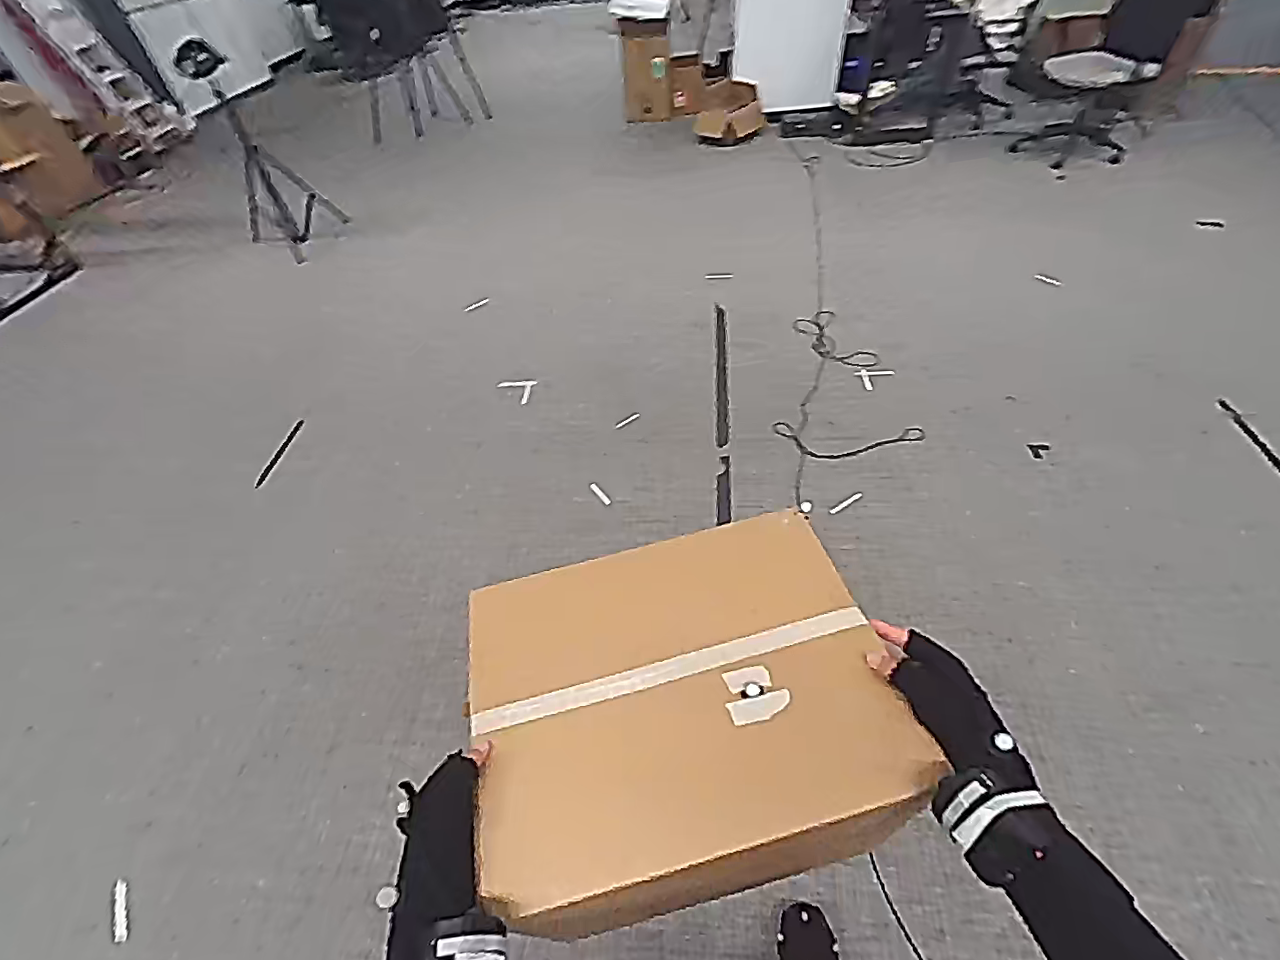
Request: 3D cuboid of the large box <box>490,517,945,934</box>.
[{"bbox_3d":[0.060,0.299,0.664,0.408,0.320,0.320,-13,48,-4],"label":"large box"}]
